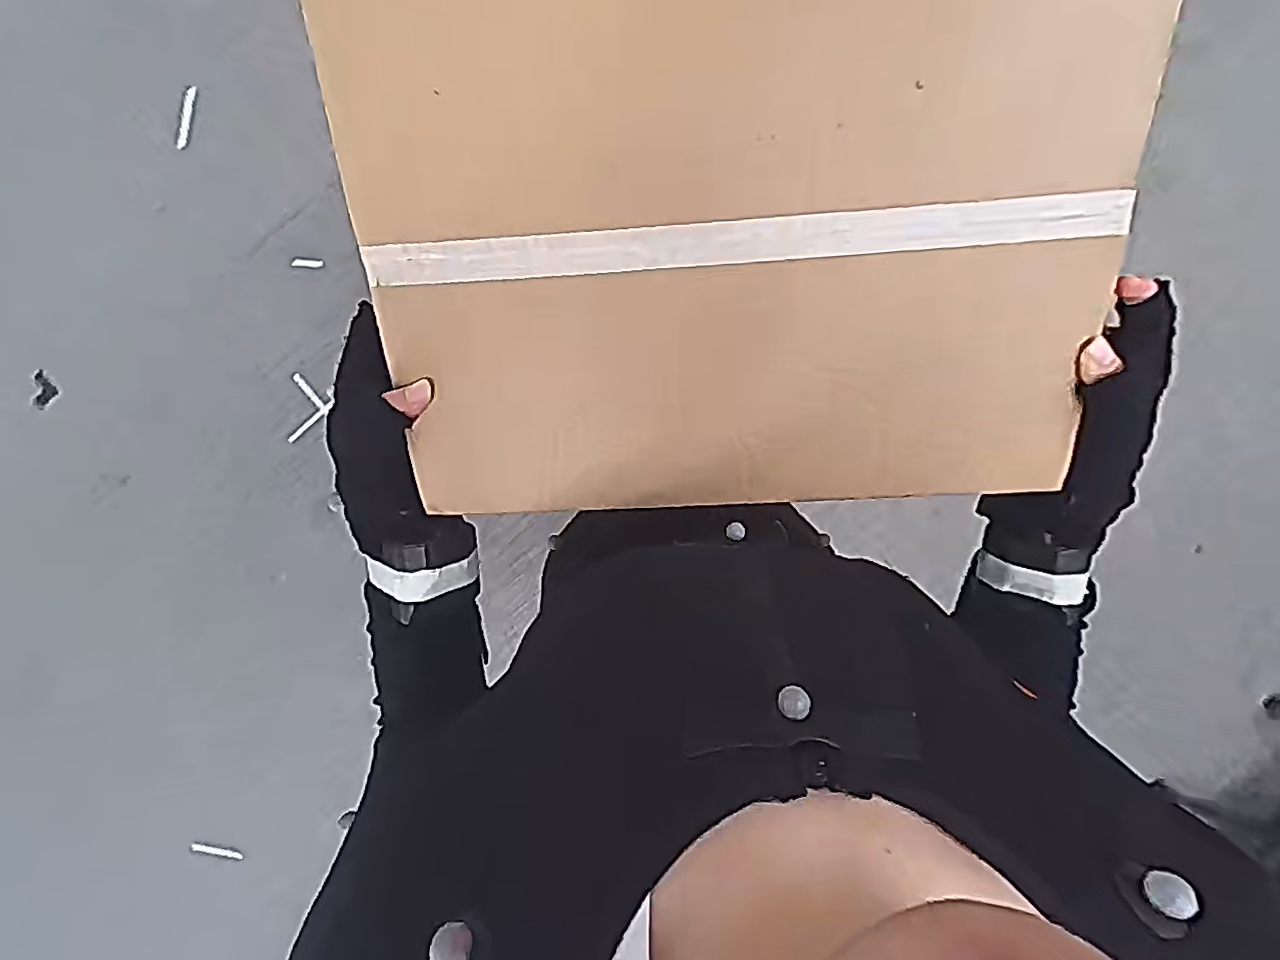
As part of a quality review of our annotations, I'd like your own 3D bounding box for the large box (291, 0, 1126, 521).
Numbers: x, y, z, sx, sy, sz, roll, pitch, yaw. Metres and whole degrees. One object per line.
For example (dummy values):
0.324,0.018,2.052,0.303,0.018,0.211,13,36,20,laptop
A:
0.045,-0.185,0.439,0.408,0.320,0.320,-4,112,4,large box
